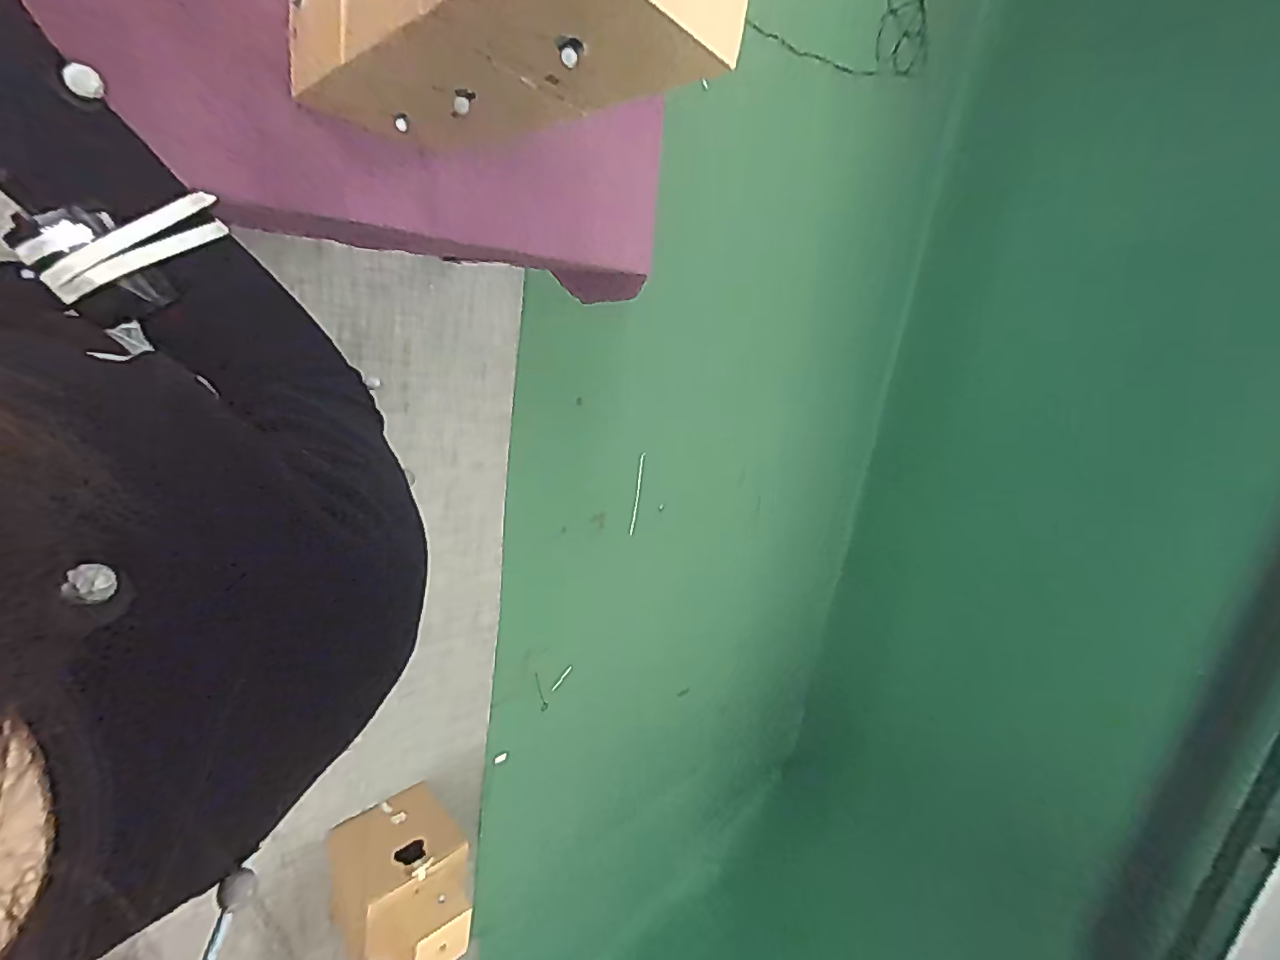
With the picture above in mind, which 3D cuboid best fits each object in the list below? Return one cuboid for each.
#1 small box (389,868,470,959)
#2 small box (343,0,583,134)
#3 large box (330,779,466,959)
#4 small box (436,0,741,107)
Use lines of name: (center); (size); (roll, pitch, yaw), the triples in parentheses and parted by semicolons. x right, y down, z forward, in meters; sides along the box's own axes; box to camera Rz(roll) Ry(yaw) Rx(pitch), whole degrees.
small box: (-0.623, 1.292, 1.589); (0.168, 0.176, 0.179); (-4, 111, -46)
small box: (-0.152, -0.444, 0.488); (0.168, 0.176, 0.179); (-3, 108, -47)
large box: (-0.798, 1.305, 1.781); (0.320, 0.320, 0.408); (-9, 114, -45)
small box: (-0.036, -0.399, 0.379); (0.168, 0.176, 0.179); (-5, 109, -46)
